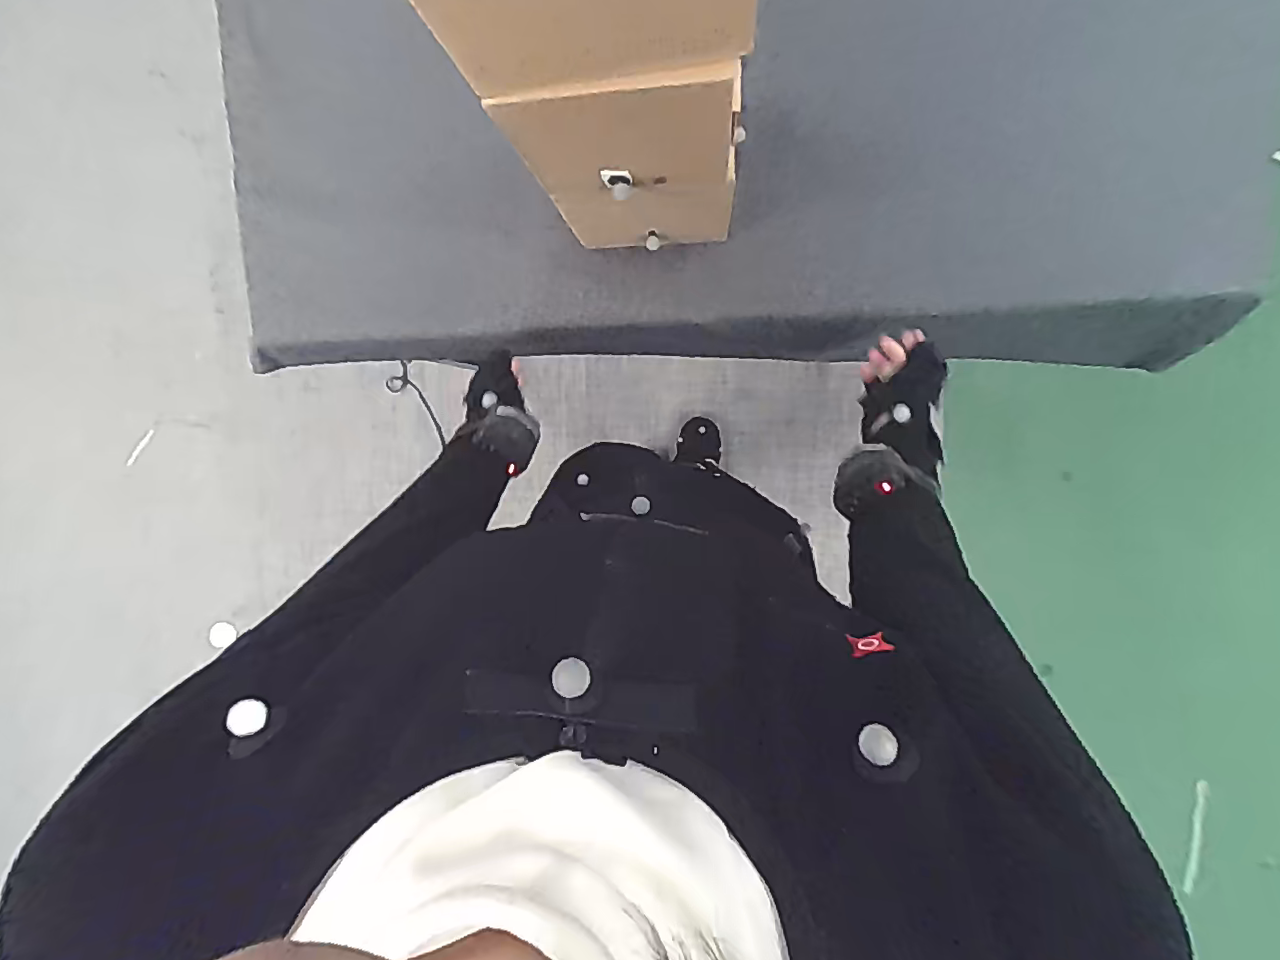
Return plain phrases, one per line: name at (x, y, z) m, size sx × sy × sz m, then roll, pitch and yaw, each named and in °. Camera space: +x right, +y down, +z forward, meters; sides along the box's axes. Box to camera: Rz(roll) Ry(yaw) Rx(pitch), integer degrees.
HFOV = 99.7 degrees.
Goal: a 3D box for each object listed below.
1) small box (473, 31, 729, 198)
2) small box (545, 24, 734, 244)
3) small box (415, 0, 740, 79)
small box at (-0.017, -0.341, 0.410) m, size 0.168 × 0.176 × 0.179 m, roll 0°, pitch 98°, yaw 9°
small box at (0.004, -0.361, 0.570) m, size 0.179 × 0.176 × 0.168 m, roll 0°, pitch 96°, yaw 7°
small box at (-0.042, -0.324, 0.249) m, size 0.179 × 0.176 × 0.168 m, roll -2°, pitch 96°, yaw 8°
